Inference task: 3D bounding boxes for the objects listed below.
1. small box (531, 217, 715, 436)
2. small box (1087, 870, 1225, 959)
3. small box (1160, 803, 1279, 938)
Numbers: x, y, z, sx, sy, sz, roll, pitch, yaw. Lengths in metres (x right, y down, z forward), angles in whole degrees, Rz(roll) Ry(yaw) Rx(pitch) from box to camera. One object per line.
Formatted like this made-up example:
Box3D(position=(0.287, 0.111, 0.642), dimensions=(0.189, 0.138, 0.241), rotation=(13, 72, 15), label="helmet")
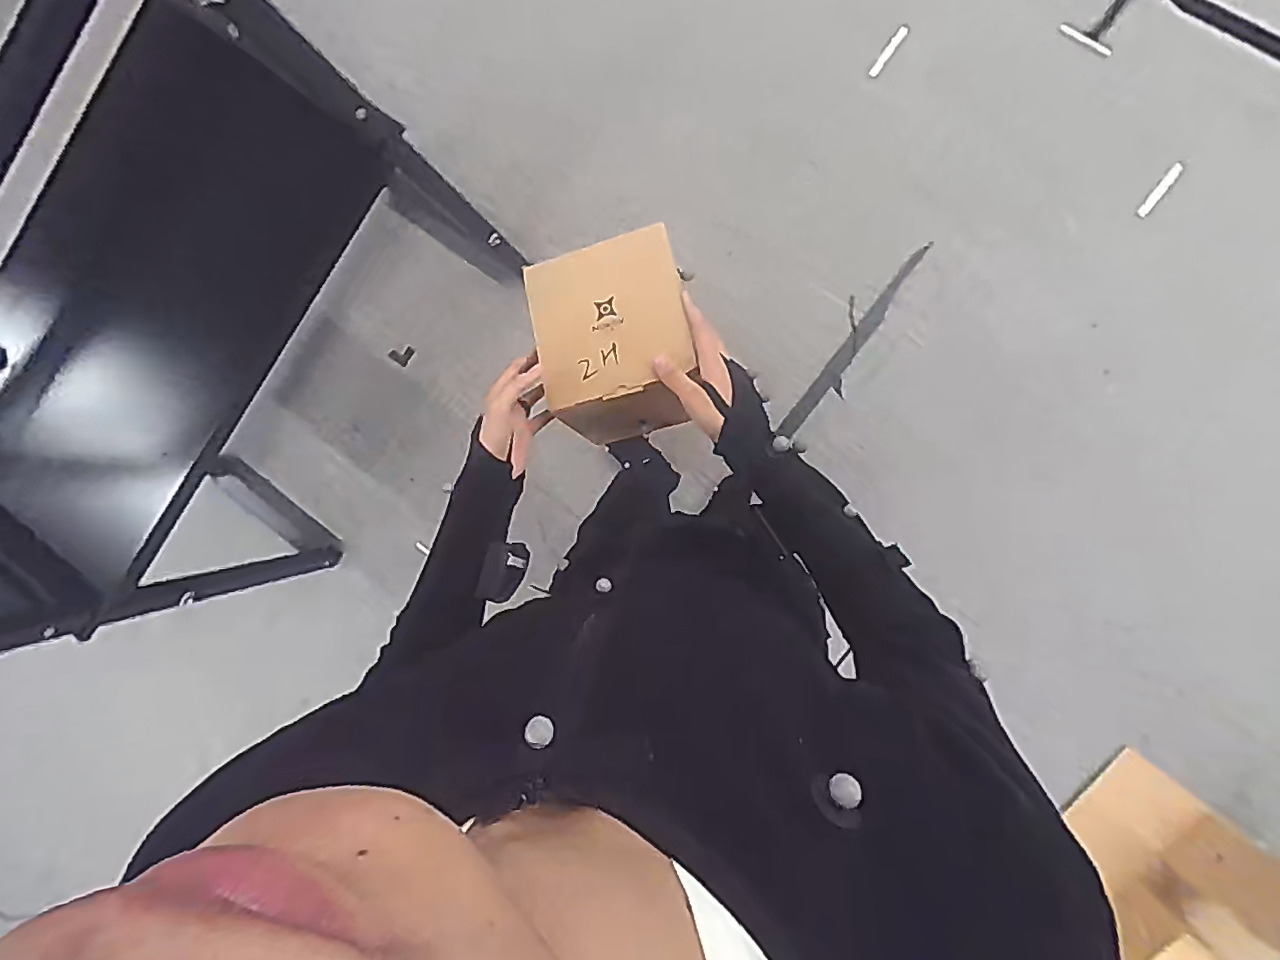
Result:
Box3D(position=(-0.012, -0.168, 0.647), dimensions=(0.168, 0.176, 0.179), rotation=(-13, 80, 12), label="small box")
Box3D(position=(1.315, 1.174, 1.393), dimensions=(0.168, 0.176, 0.179), rotation=(40, 97, 6), label="small box")
Box3D(position=(1.482, 0.971, 1.360), dimensions=(0.168, 0.176, 0.179), rotation=(38, 95, 5), label="small box")
